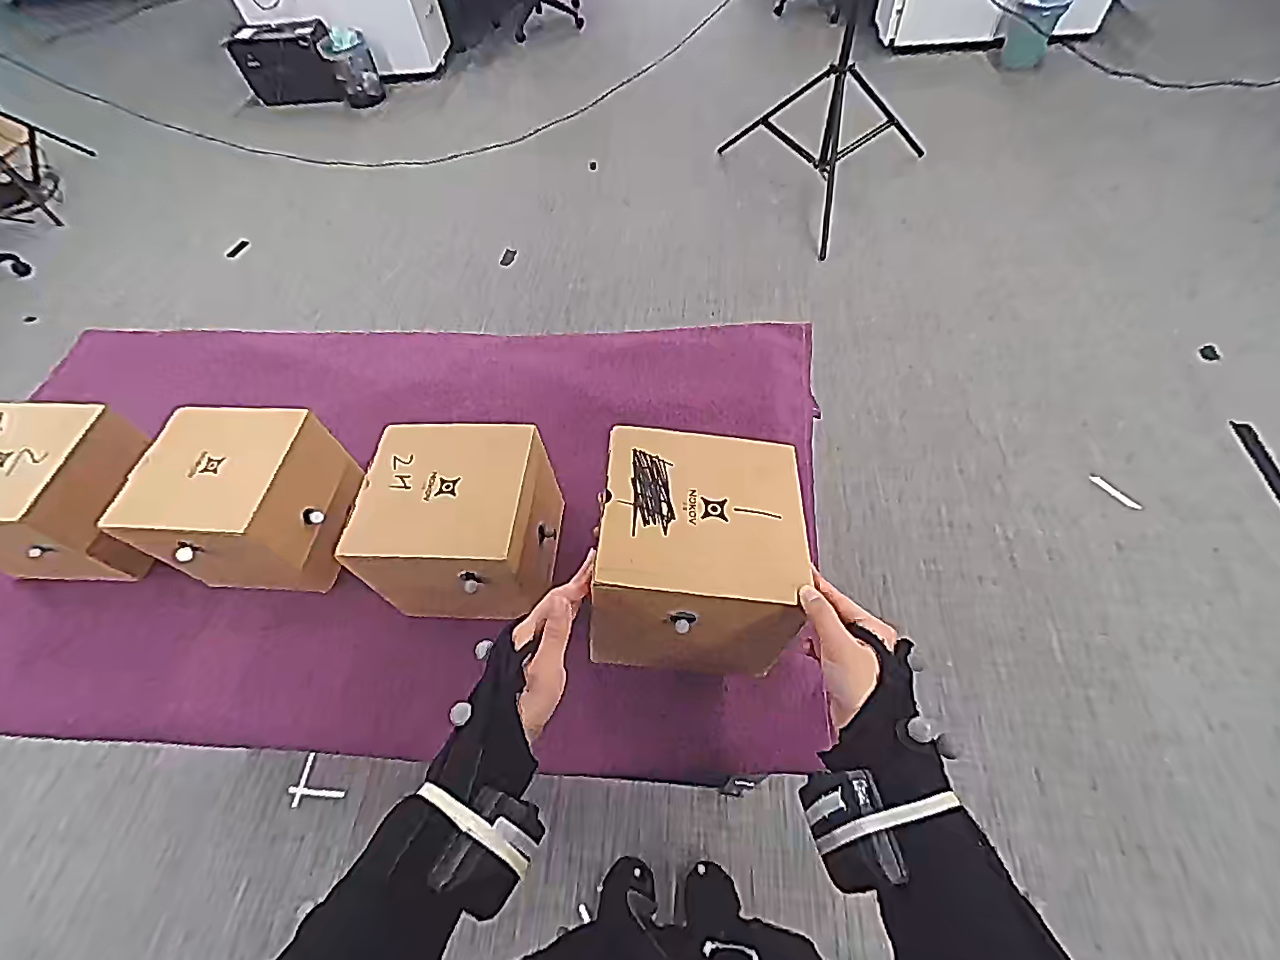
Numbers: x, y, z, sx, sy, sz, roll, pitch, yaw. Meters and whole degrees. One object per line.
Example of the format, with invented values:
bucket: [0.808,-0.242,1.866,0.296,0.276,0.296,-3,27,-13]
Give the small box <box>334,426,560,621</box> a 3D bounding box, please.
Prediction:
small box: [-0.199,0.055,0.623,0.179,0.176,0.168,0,55,6]

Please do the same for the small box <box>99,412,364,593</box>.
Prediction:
small box: [-0.473,0.033,0.670,0.179,0.176,0.168,1,57,7]

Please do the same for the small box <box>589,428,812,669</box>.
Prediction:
small box: [0.047,0.071,0.523,0.179,0.176,0.168,6,53,-2]
